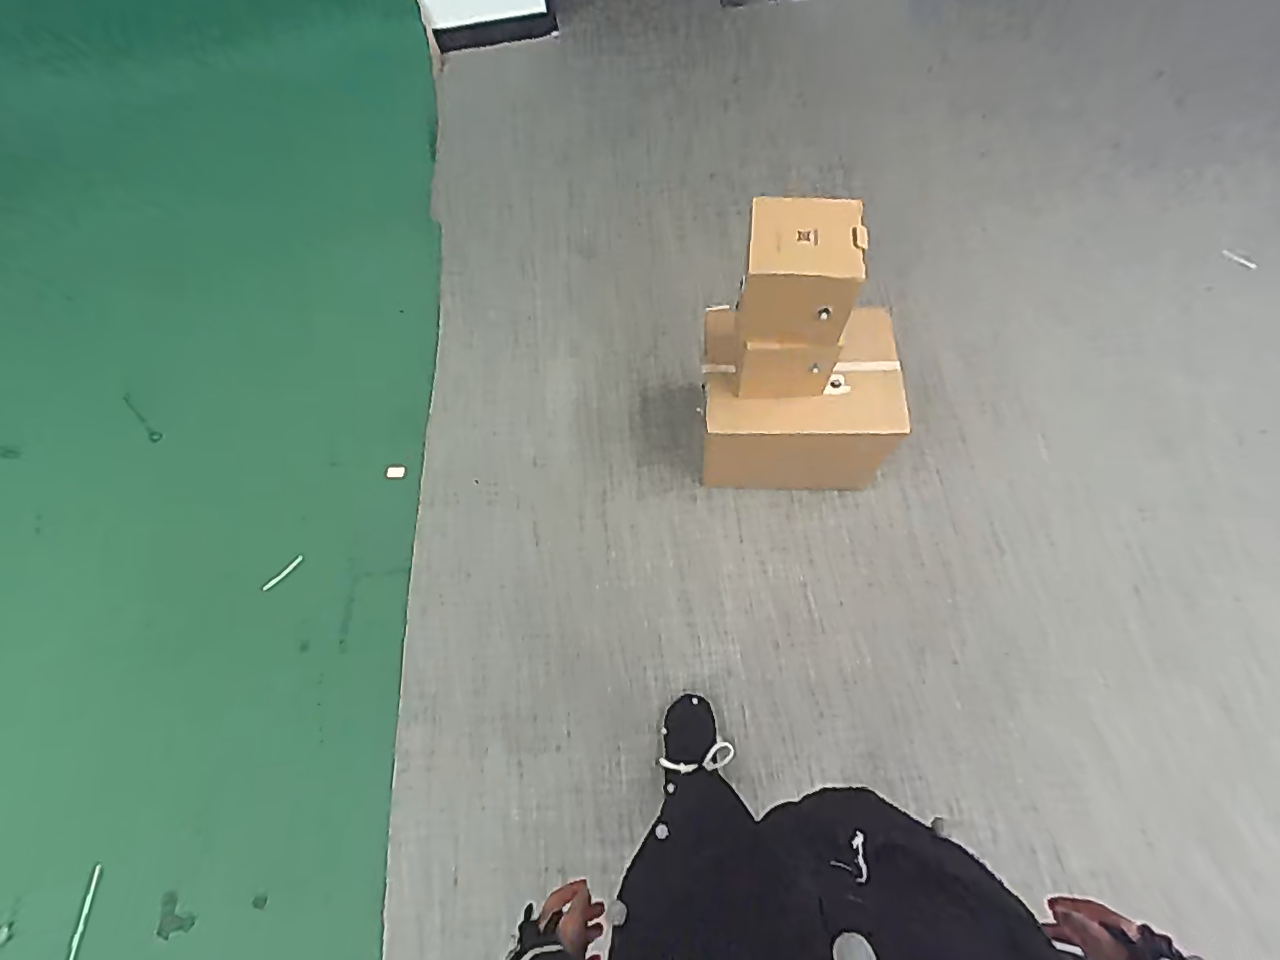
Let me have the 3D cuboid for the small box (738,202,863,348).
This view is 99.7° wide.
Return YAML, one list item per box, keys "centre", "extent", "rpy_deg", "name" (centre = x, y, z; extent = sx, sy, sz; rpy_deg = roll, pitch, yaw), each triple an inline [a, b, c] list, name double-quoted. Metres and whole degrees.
- centre: [0.265, -0.342, 0.921]
  extent: [0.179, 0.176, 0.168]
  rpy_deg: [4, 67, 8]
  name: "small box"

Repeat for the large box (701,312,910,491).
- centre: [0.354, -0.172, 1.284]
  extent: [0.408, 0.320, 0.320]
  rpy_deg: [0, 68, 5]
  name: "large box"
